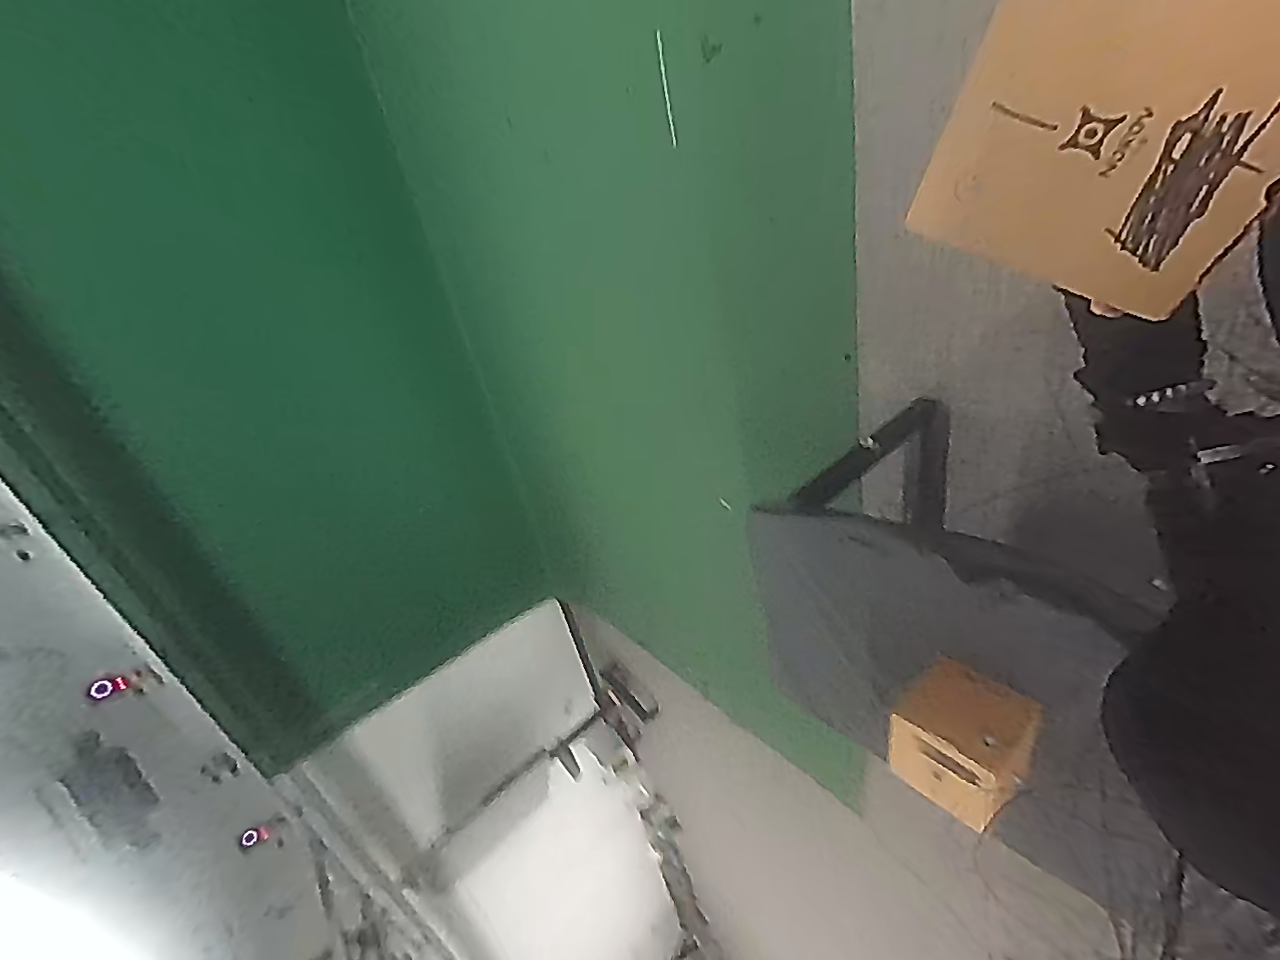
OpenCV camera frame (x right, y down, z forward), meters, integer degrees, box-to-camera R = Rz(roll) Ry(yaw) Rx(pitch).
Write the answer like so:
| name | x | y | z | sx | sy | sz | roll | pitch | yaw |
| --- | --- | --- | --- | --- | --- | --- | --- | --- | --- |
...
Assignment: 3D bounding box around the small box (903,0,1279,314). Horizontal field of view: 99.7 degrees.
| name | x | y | z | sx | sy | sz | roll | pitch | yaw |
| --- | --- | --- | --- | --- | --- | --- | --- | --- | --- |
| small box | 0.319 | -0.247 | 0.351 | 0.179 | 0.176 | 0.168 | 36 | 148 | 20 |
